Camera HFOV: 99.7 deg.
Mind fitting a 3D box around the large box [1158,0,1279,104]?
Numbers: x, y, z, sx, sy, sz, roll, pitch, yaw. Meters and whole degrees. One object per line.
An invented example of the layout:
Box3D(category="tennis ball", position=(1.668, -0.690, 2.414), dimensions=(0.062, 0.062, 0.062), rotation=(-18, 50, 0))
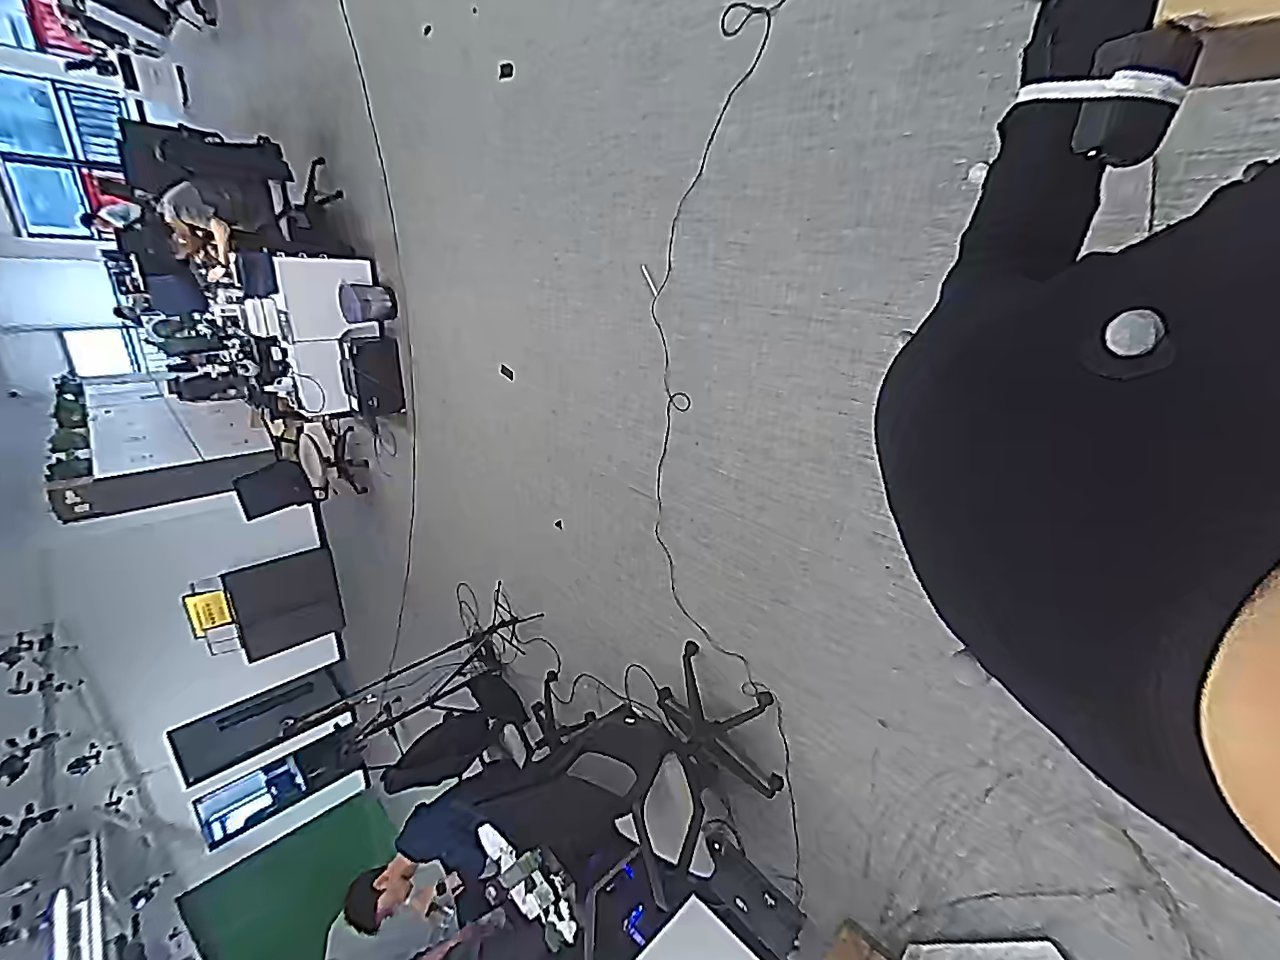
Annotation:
Box3D(category="large box", position=(0.564, -0.403, 0.249), dimensions=(0.408, 0.320, 0.320), rotation=(21, 126, 39))
